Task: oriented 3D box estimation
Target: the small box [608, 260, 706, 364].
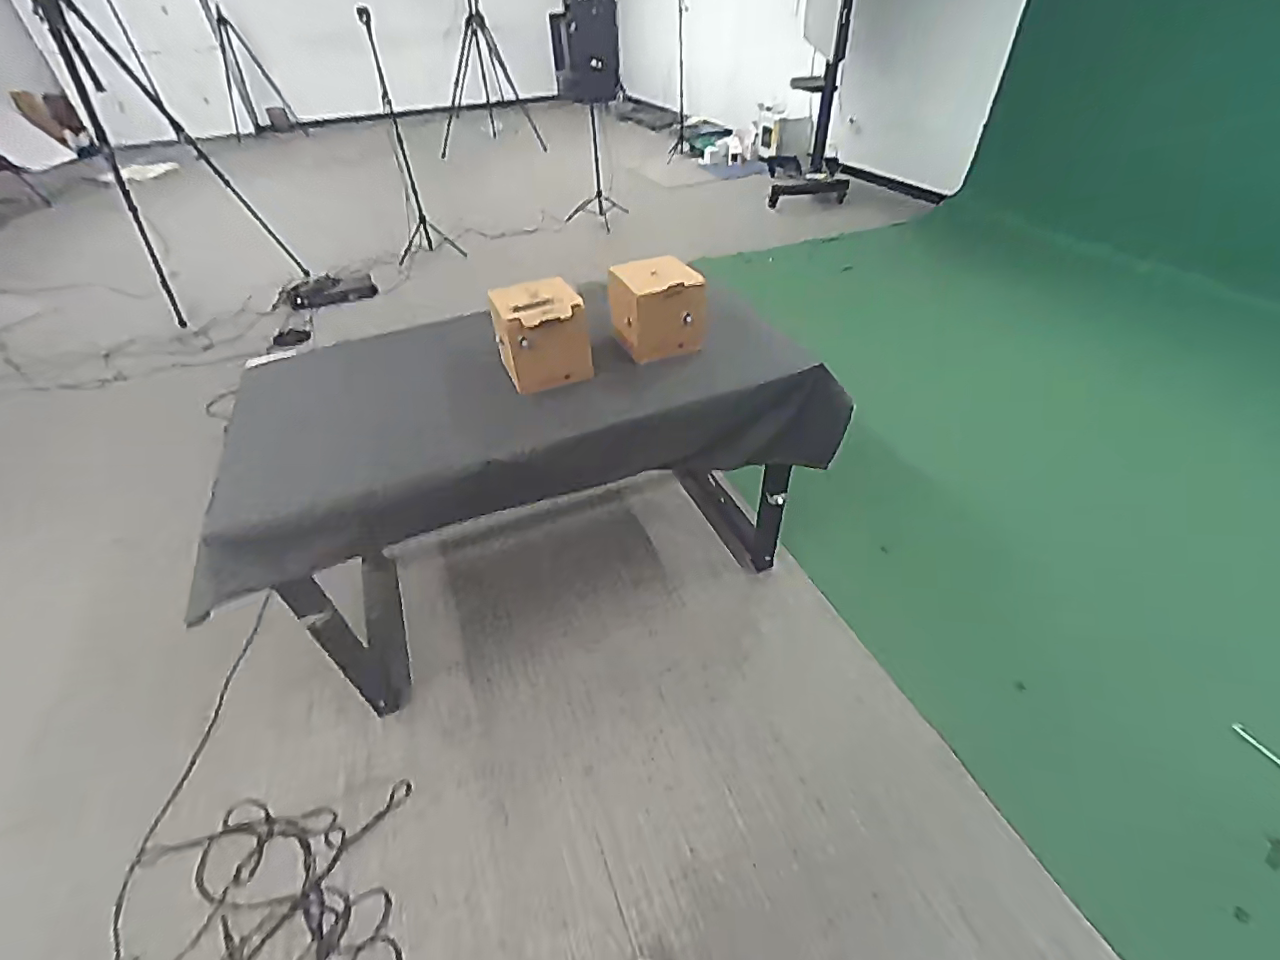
[{"bbox_3d":[0.038,-0.380,1.239,0.168,0.176,0.179,-17,43,-17],"label":"small box"}]
